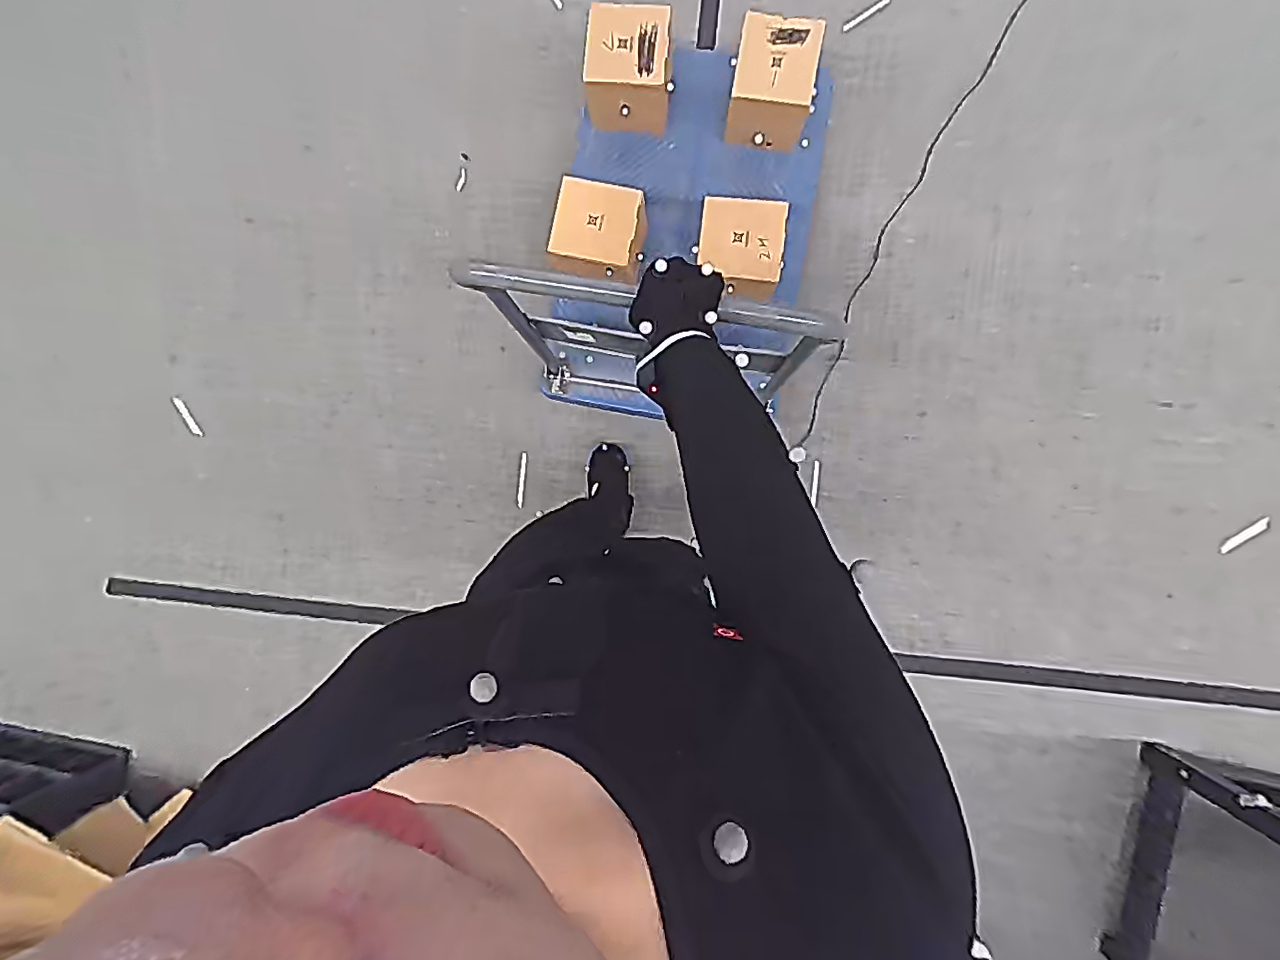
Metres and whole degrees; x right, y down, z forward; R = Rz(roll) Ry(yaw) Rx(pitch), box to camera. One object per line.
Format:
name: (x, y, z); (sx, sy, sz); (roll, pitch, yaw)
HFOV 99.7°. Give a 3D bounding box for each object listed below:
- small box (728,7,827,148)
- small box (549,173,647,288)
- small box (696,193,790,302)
small box: (0.291, -0.872, 1.185); (0.168, 0.176, 0.179); (10, 93, 4)
small box: (-0.087, -0.552, 1.218); (0.179, 0.176, 0.168); (12, 91, 2)
small box: (0.218, -0.506, 1.195); (0.179, 0.176, 0.168); (7, 91, 4)
